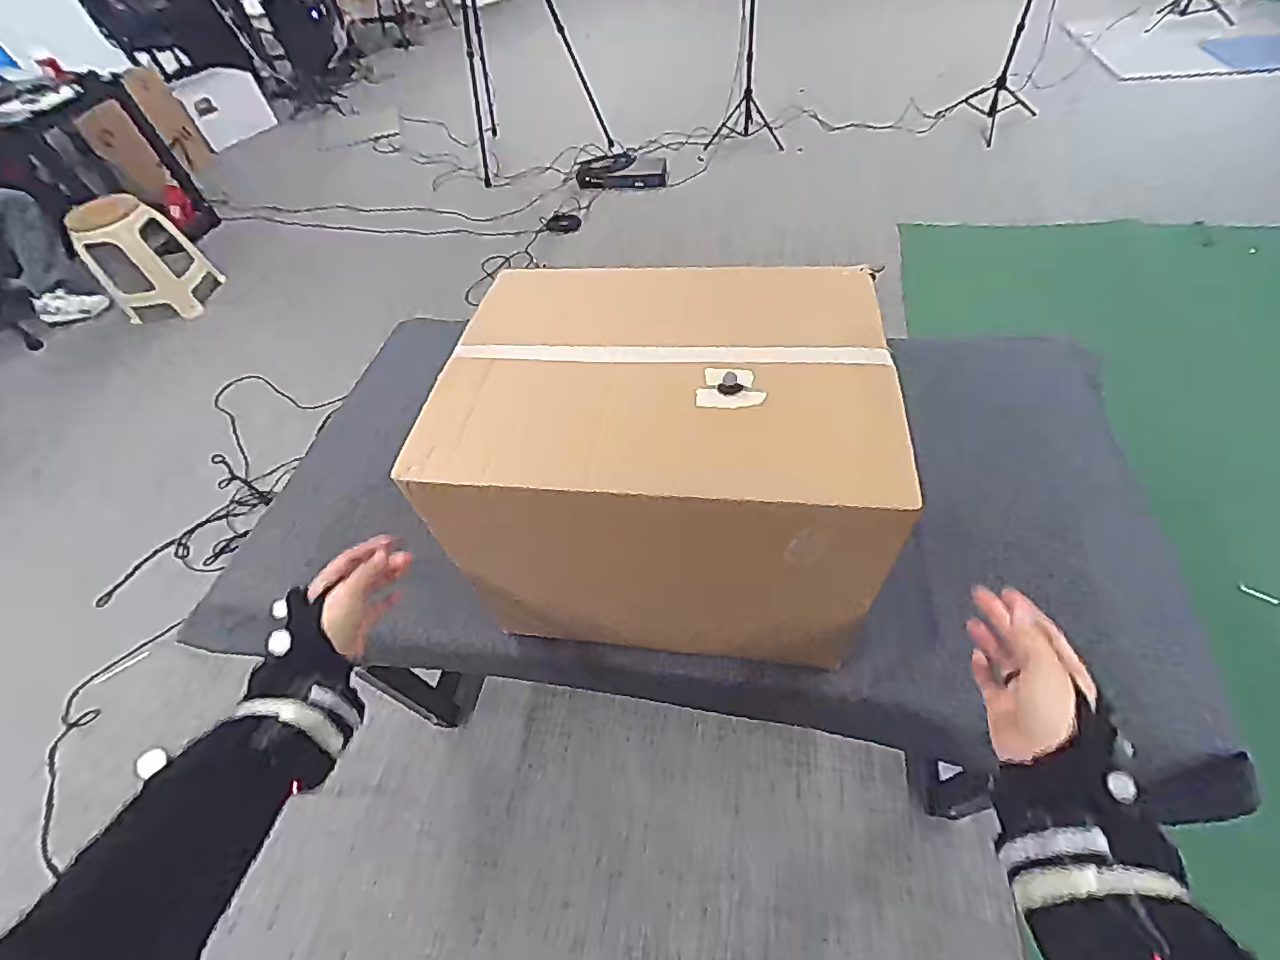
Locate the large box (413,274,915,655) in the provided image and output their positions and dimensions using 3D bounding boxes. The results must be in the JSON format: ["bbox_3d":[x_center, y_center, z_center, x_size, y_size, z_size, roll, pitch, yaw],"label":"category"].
[{"bbox_3d":[0.035,-0.017,0.625,0.408,0.320,0.320,3,52,9],"label":"large box"}]
